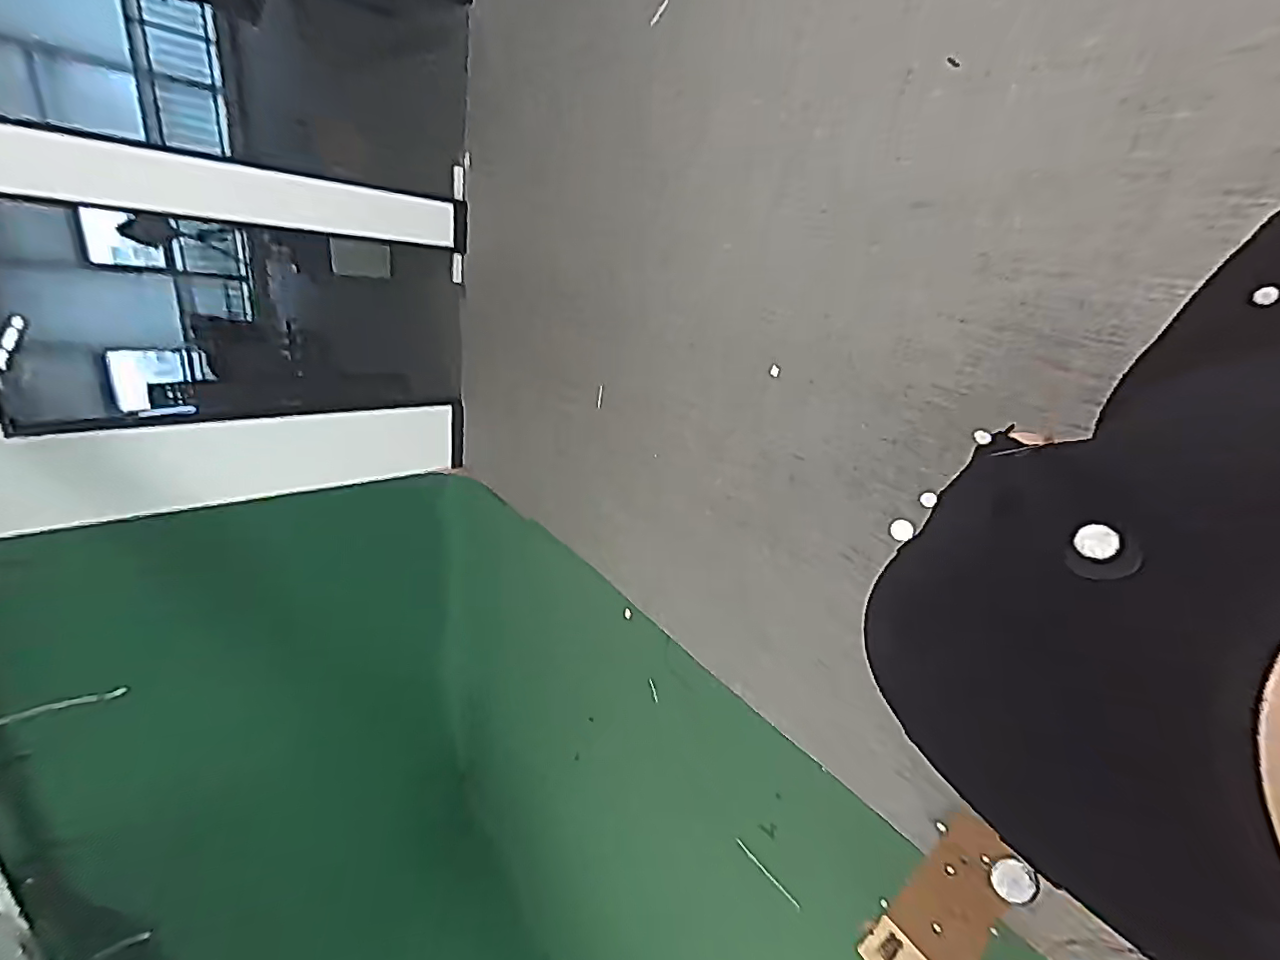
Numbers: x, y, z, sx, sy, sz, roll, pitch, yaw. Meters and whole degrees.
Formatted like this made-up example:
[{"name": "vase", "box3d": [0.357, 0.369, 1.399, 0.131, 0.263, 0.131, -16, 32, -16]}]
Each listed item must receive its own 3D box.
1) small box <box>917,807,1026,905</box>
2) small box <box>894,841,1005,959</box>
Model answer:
[{"name": "small box", "box3d": [0.895, 1.039, 1.459, 0.179, 0.176, 0.168, 36, 124, 40]}, {"name": "small box", "box3d": [0.776, 1.058, 1.351, 0.168, 0.176, 0.179, 35, 124, 41]}]
